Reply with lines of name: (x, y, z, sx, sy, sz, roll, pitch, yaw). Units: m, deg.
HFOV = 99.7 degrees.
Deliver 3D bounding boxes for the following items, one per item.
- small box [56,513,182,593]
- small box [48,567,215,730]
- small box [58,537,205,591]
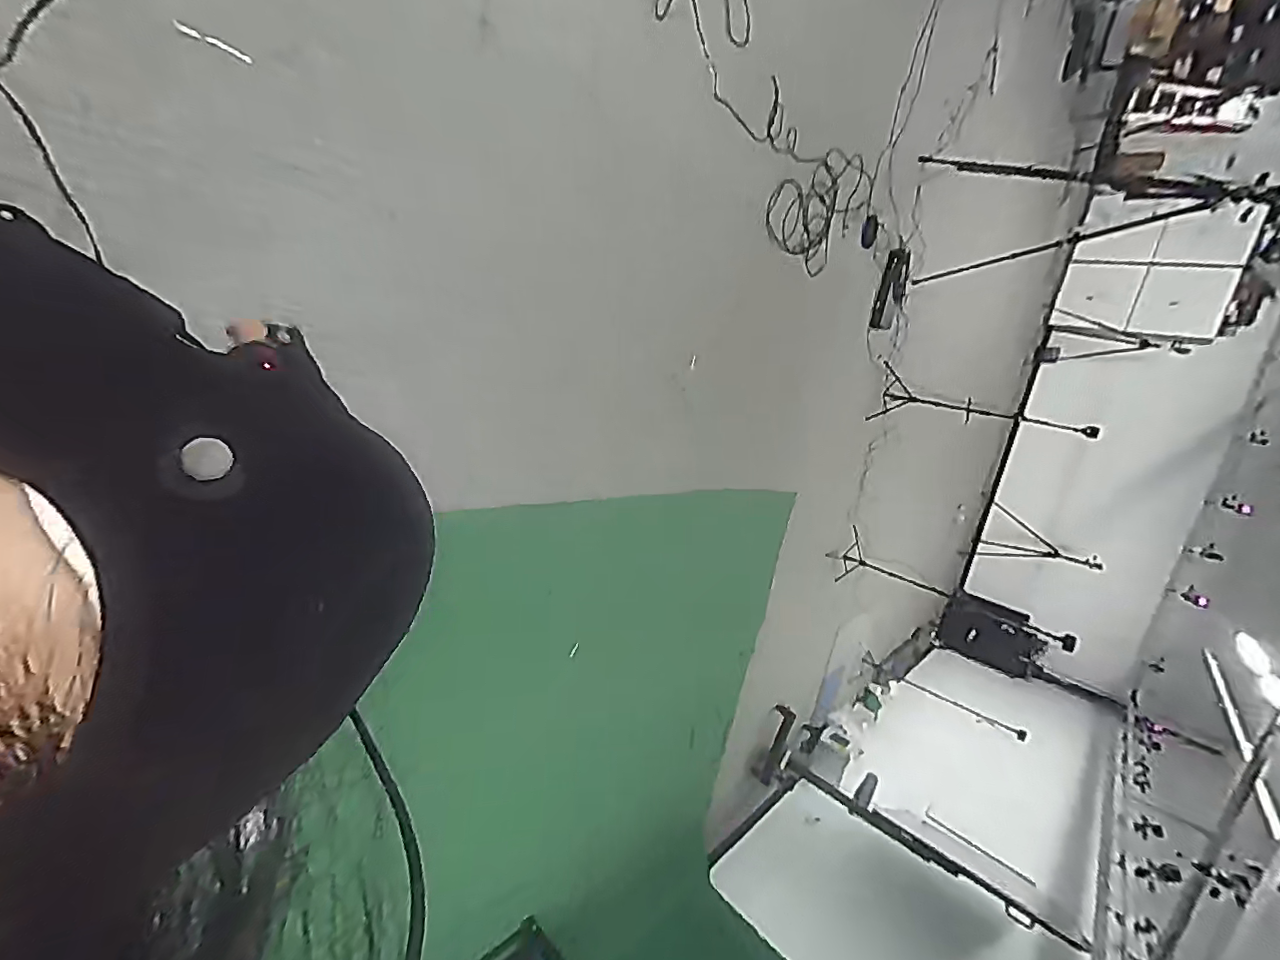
small box: (-1.032, 0.169, 1.070, 0.168, 0.176, 0.179, 0, 106, -48)
small box: (-0.799, 0.250, 0.851, 0.179, 0.176, 0.168, 1, 106, -48)
small box: (-0.910, 0.206, 0.966, 0.179, 0.176, 0.168, 2, 105, -47)
